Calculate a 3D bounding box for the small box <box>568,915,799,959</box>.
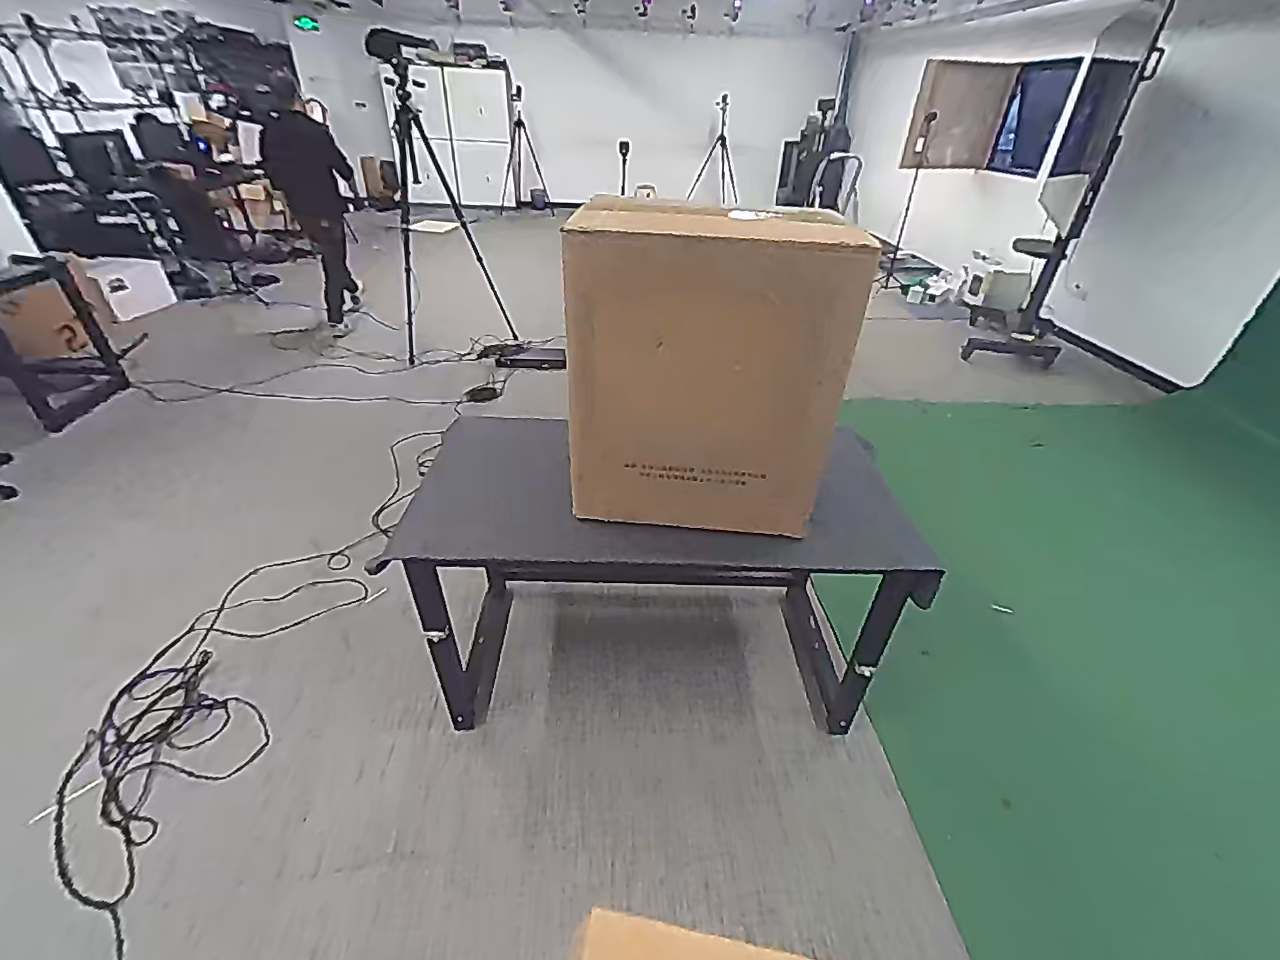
[{"bbox_3d":[0.025,0.379,0.307,0.168,0.176,0.179,12,48,1],"label":"small box"}]
